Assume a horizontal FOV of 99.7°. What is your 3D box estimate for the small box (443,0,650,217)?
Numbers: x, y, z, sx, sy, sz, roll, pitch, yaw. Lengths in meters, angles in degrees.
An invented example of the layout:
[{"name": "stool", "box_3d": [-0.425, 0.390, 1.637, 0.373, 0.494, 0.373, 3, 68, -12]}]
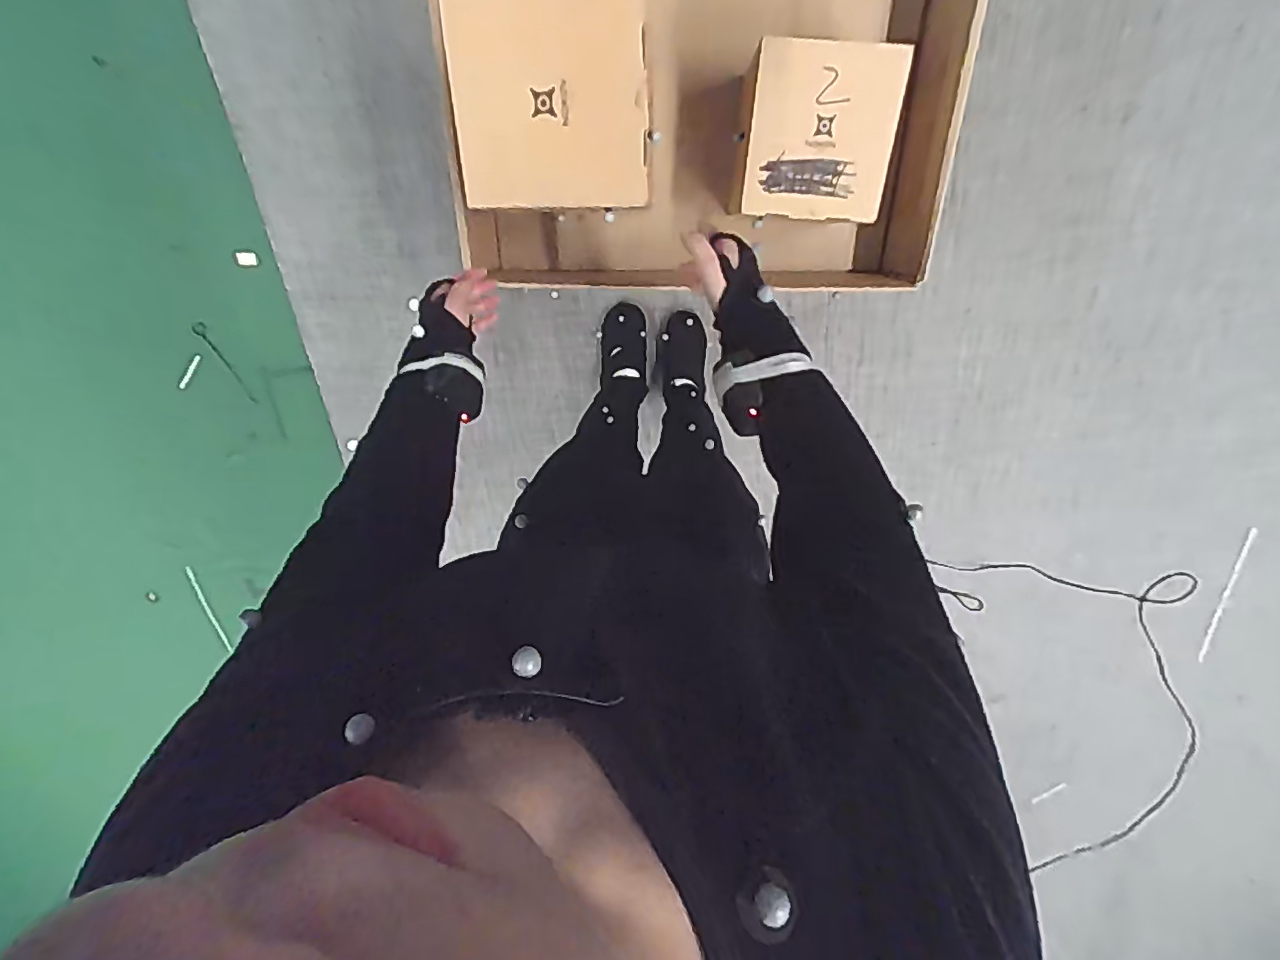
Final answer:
[{"name": "small box", "box_3d": [-0.079, -0.365, 0.558, 0.179, 0.176, 0.168, 0, 115, 1]}]
